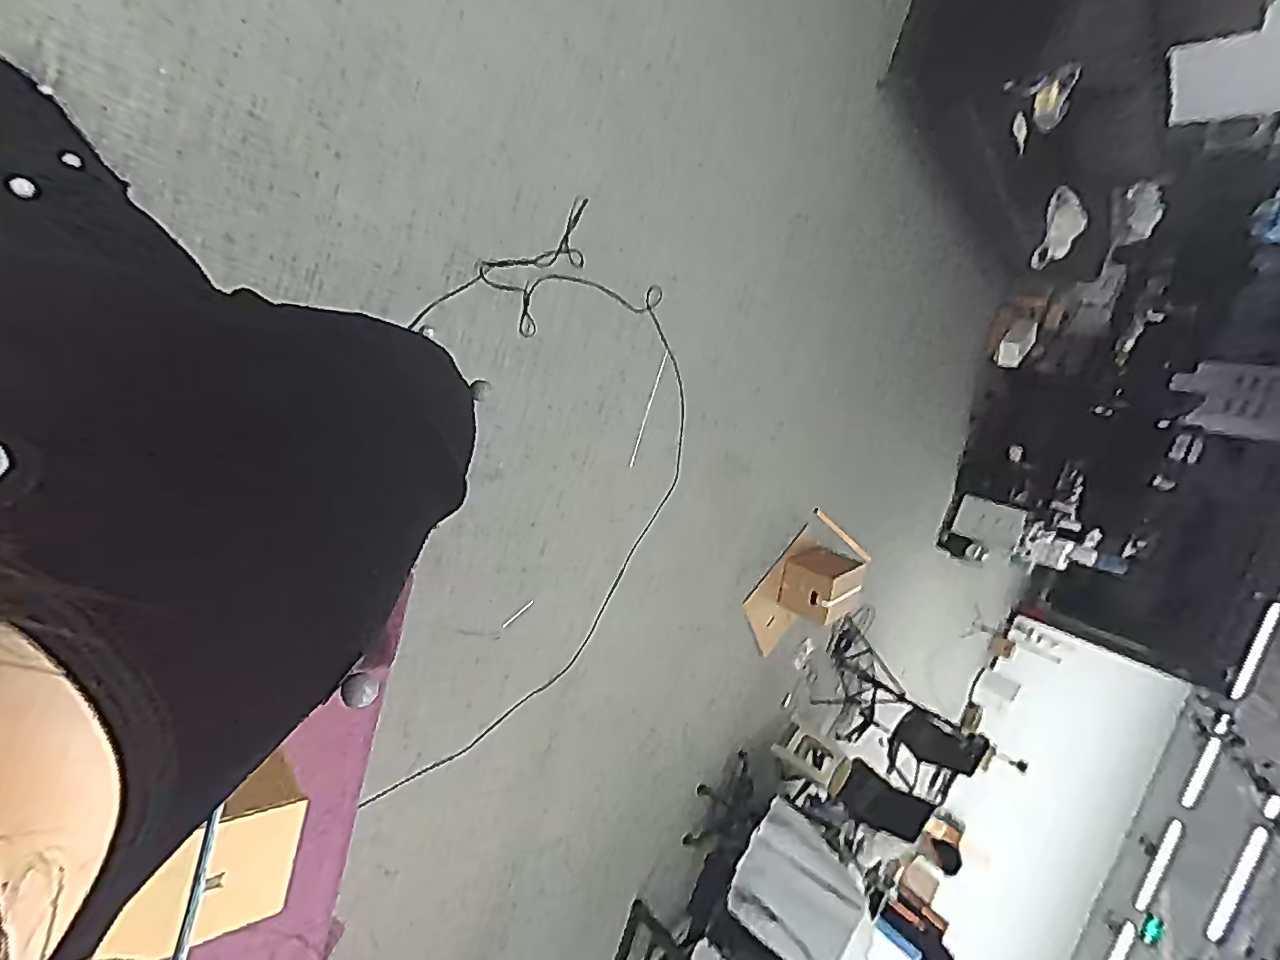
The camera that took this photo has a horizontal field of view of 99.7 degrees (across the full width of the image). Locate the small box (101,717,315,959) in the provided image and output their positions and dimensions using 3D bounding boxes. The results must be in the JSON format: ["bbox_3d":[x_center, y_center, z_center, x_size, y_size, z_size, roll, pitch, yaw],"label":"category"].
[{"bbox_3d":[-0.539,0.425,0.675,0.179,0.176,0.168,9,101,-46],"label":"small box"}]
